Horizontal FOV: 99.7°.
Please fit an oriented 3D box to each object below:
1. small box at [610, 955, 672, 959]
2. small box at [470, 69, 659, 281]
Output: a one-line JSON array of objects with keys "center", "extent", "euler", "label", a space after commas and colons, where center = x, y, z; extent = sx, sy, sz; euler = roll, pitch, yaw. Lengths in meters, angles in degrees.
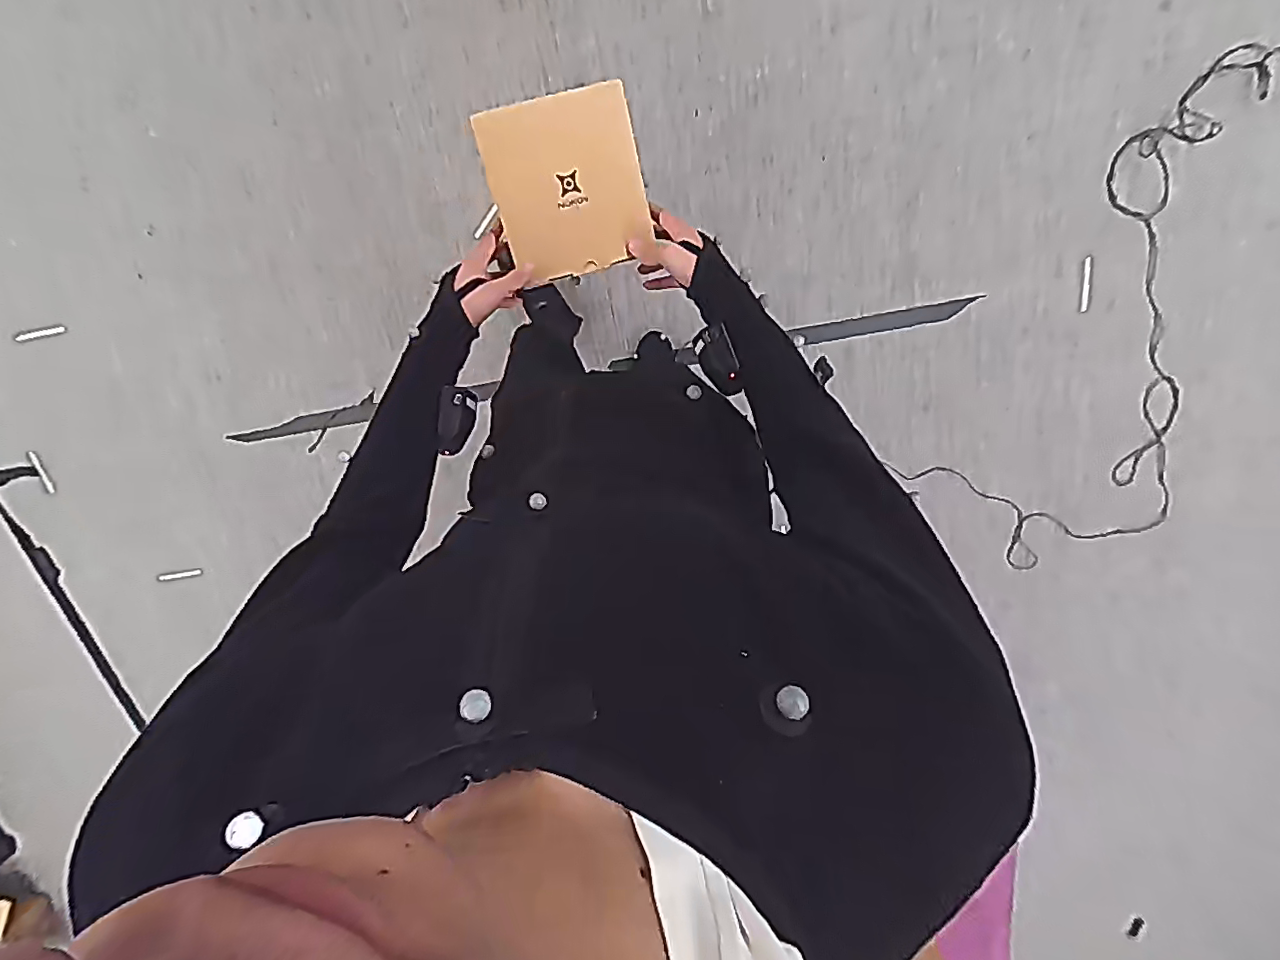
[{"center": [0.003, 1.216, 1.215], "extent": [0.179, 0.176, 0.168], "euler": [-9, 106, 4], "label": "small box"}, {"center": [-0.090, -0.350, 0.653], "extent": [0.168, 0.176, 0.179], "euler": [-17, 114, -4], "label": "small box"}]
